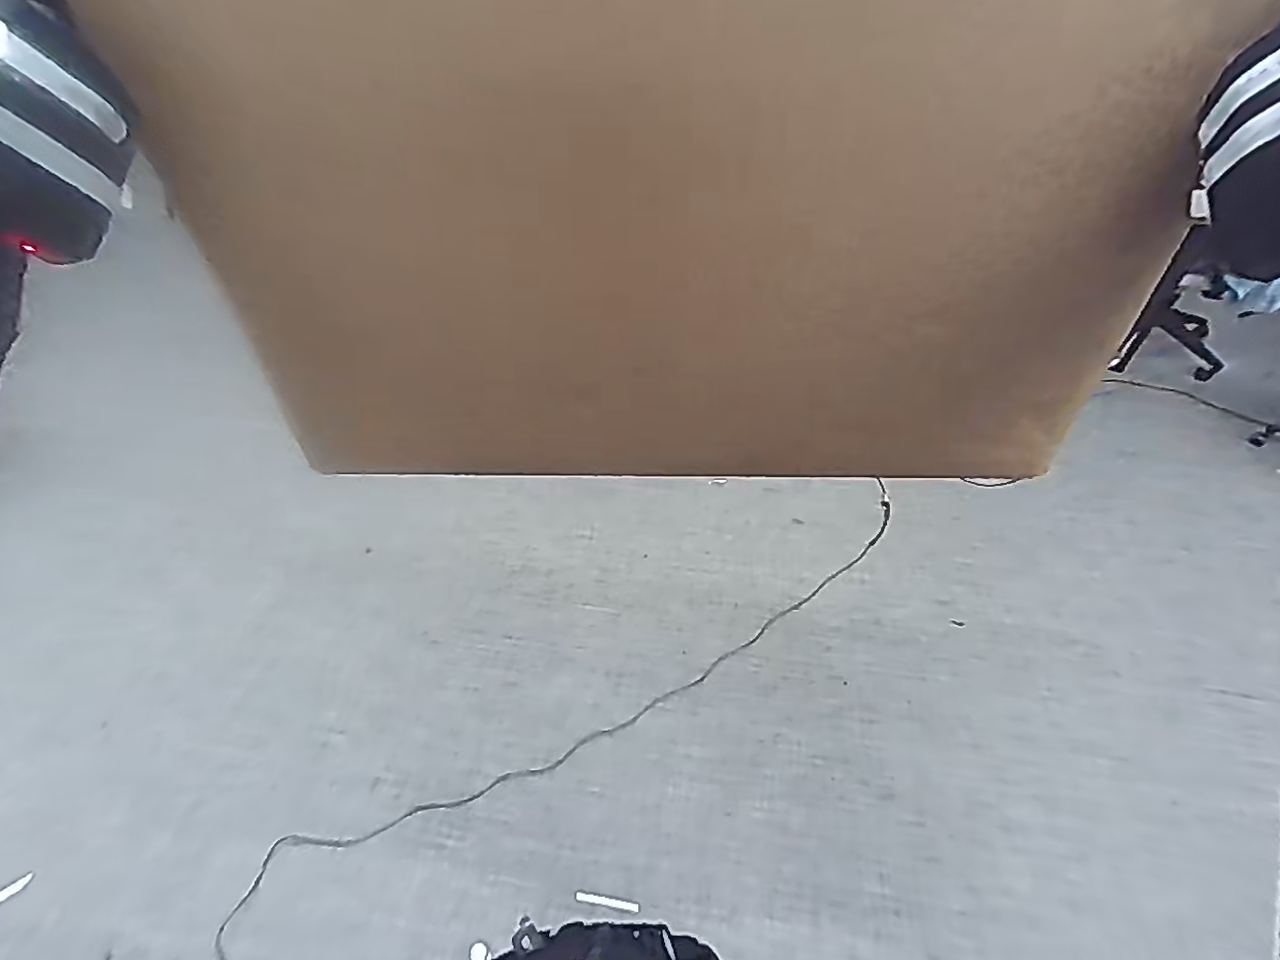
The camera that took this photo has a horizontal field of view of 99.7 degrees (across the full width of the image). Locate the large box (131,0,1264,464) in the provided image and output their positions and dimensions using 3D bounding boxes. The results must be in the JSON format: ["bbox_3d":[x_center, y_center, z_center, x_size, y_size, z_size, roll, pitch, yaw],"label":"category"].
[{"bbox_3d":[0.019,-0.218,0.332,0.408,0.320,0.320,1,39,1],"label":"large box"}]
